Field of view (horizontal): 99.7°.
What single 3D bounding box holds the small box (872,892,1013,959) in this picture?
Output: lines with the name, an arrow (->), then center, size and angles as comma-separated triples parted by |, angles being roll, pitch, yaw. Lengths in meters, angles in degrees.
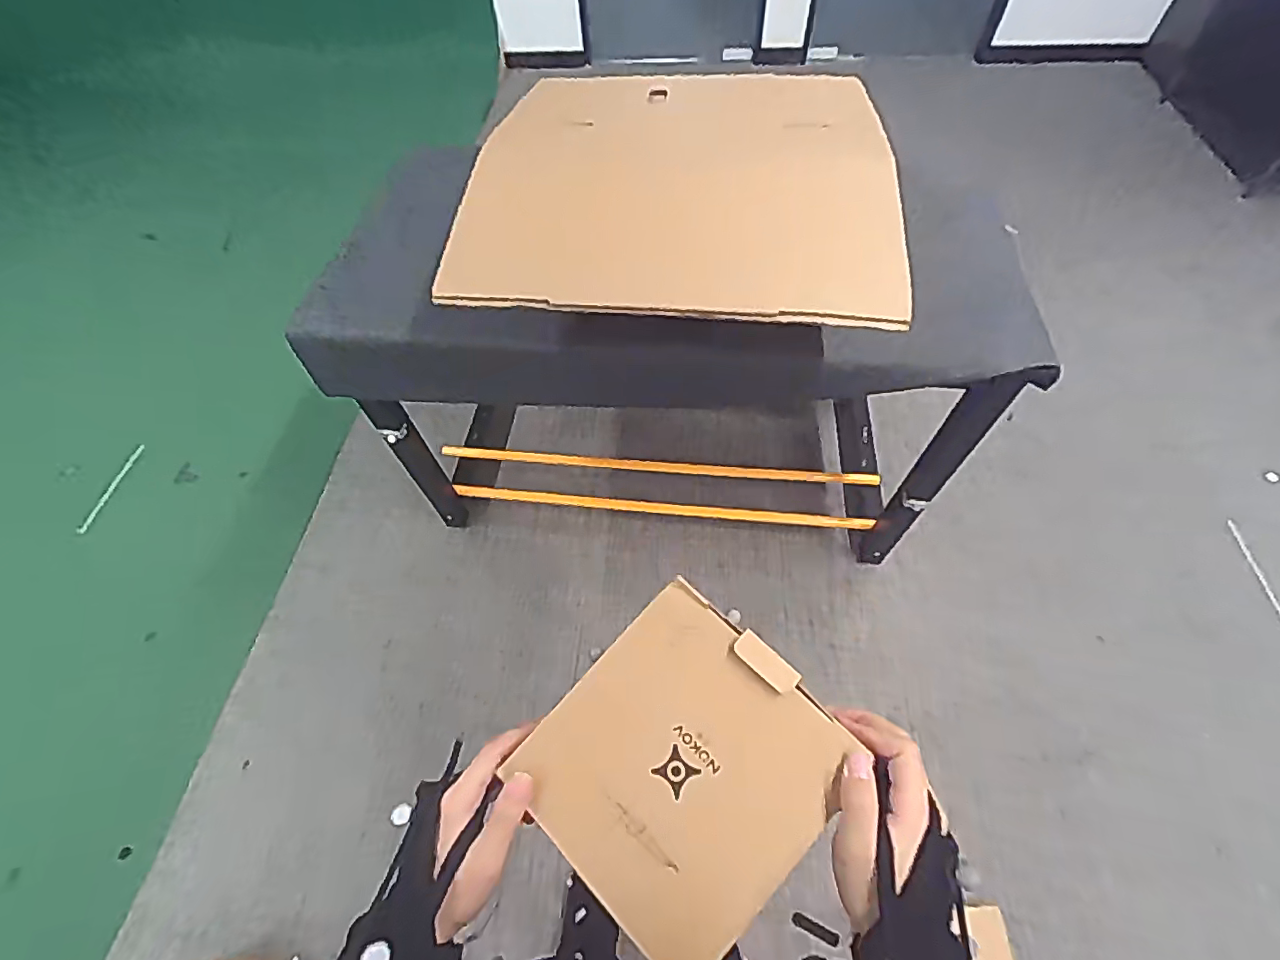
small box -> 0.523, 0.830, 0.938 | 0.168, 0.176, 0.179 | -1, 57, 2

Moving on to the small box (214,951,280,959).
small box -> -0.704, 0.939, 0.920 | 0.168, 0.176, 0.179 | 5, 59, 6

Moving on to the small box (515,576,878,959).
small box -> 0.042, 0.201, 0.417 | 0.168, 0.176, 0.179 | 40, 82, 19
